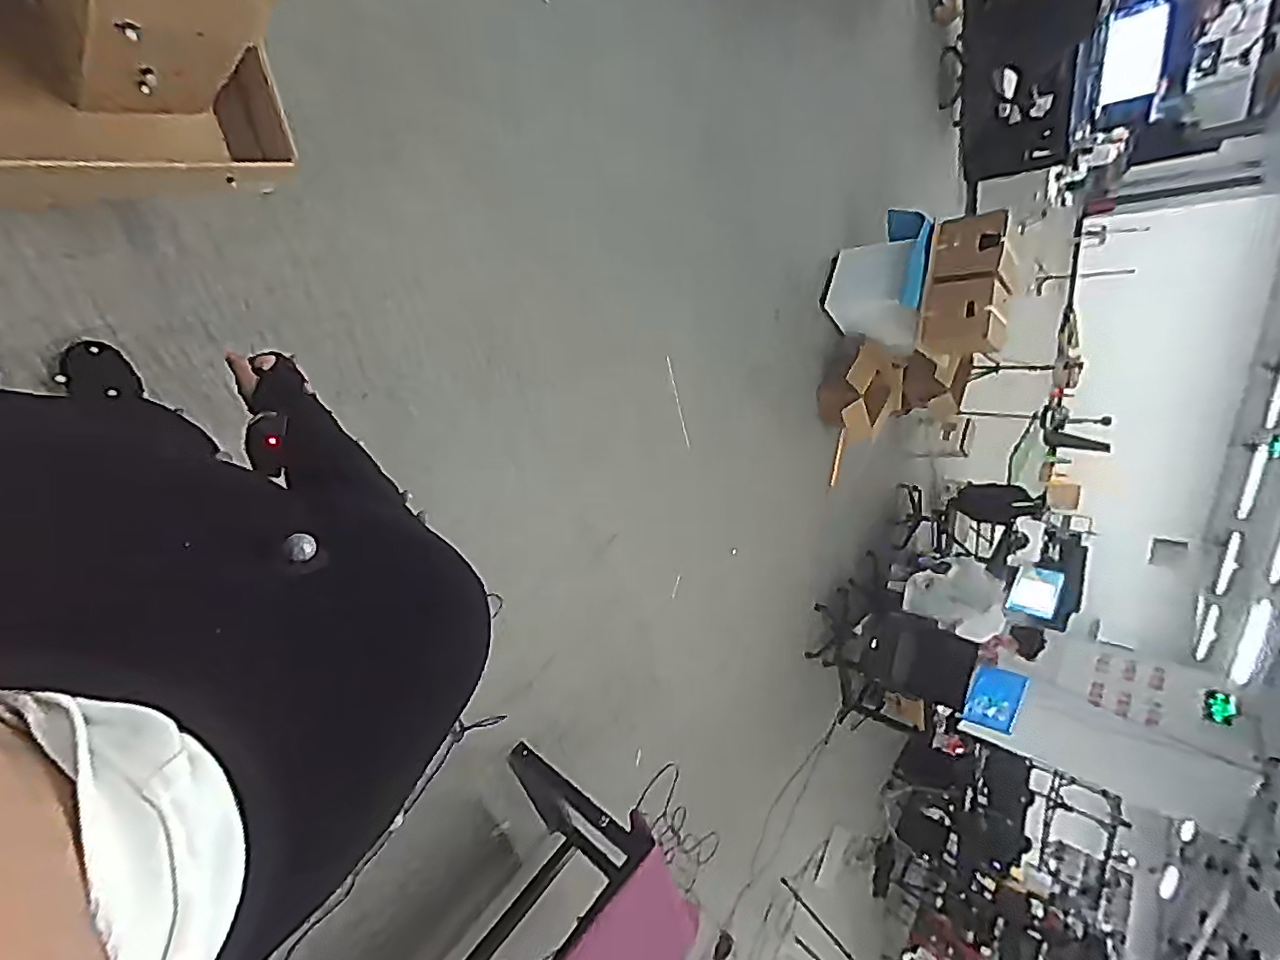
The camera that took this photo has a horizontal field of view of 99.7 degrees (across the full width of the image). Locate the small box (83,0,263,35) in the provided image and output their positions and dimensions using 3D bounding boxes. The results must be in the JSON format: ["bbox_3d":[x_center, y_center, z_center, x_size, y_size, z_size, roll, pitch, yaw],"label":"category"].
[{"bbox_3d":[-0.508,-0.595,0.553,0.168,0.176,0.179,-30,120,-38],"label":"small box"}]

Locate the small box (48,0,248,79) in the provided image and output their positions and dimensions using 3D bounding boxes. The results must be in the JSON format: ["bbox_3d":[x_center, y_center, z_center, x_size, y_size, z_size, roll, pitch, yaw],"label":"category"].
[{"bbox_3d":[-0.626,-0.627,0.661,0.168,0.176,0.179,-30,121,-38],"label":"small box"}]
